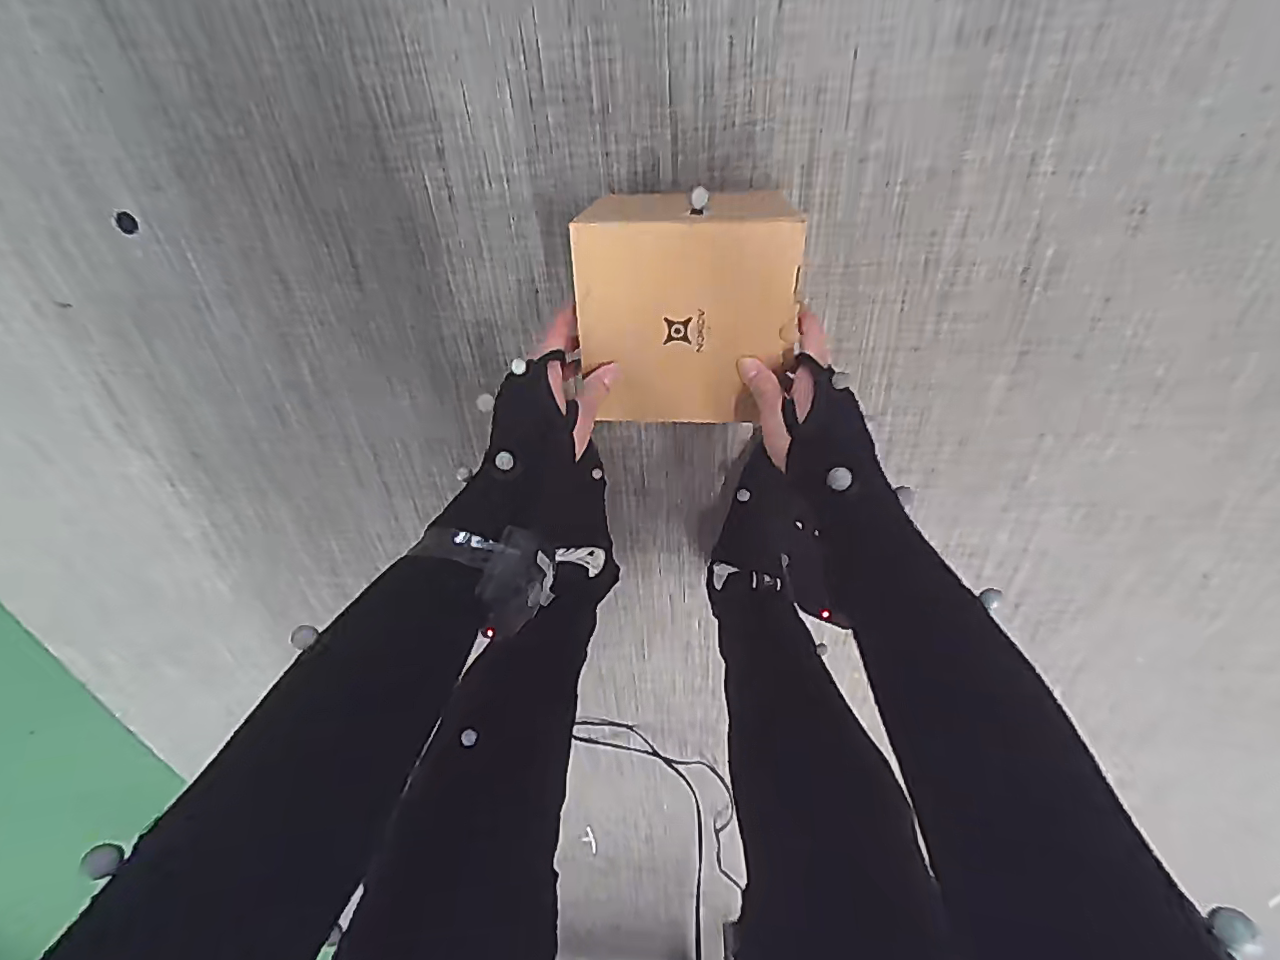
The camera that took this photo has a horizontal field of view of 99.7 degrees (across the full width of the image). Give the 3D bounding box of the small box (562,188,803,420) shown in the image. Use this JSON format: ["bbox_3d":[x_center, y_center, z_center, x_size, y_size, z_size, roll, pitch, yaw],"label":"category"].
[{"bbox_3d":[0.037,-0.166,0.496,0.179,0.176,0.168,1,123,5],"label":"small box"}]
